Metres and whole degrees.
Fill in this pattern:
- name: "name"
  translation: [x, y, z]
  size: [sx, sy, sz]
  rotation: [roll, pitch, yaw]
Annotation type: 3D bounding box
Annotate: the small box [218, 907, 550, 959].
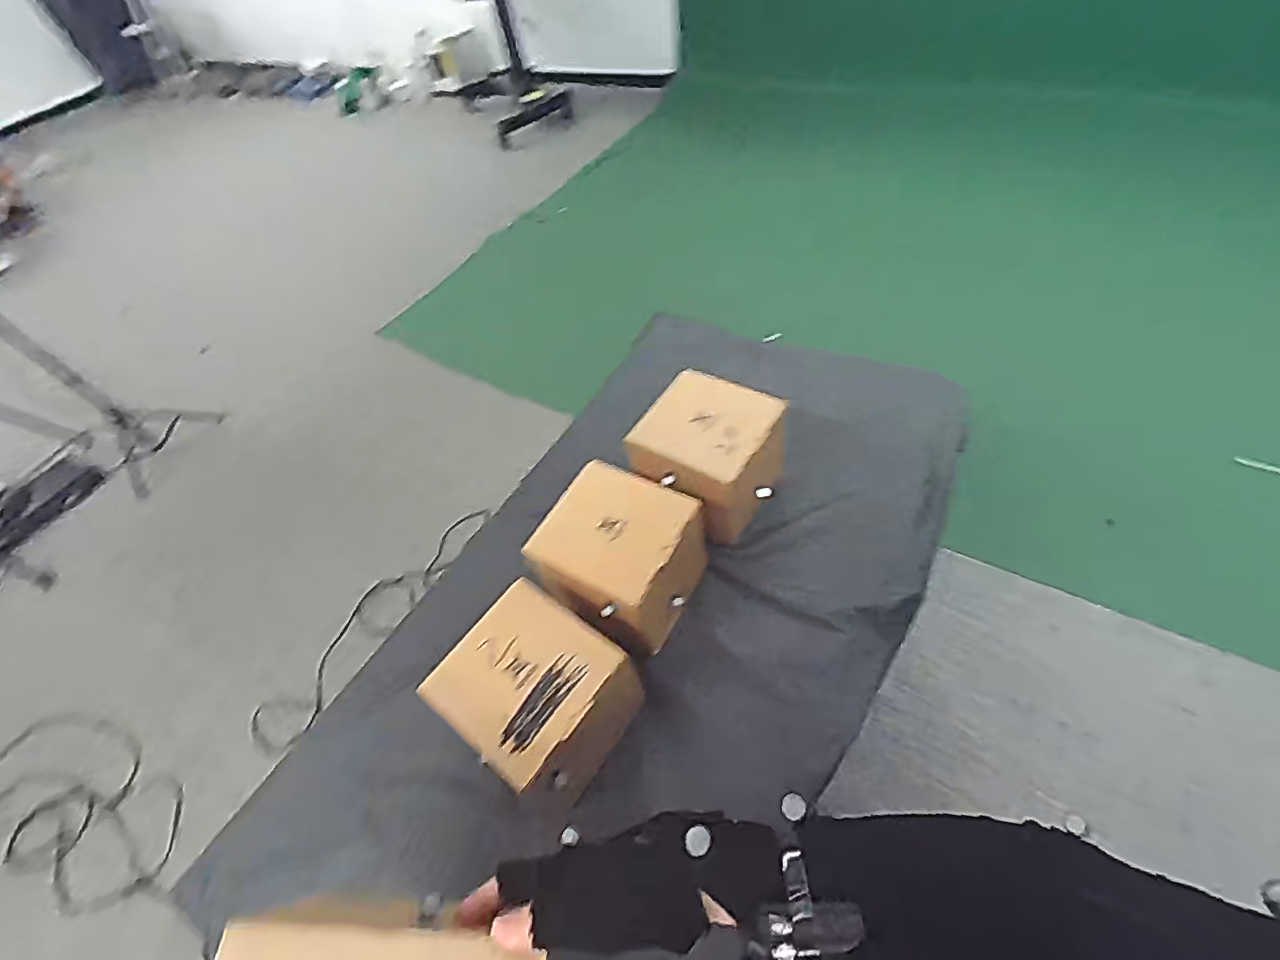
- name: "small box"
  translation: [-0.158, 0.365, 0.317]
  size: [0.179, 0.176, 0.168]
  rotation: [10, 55, -9]
